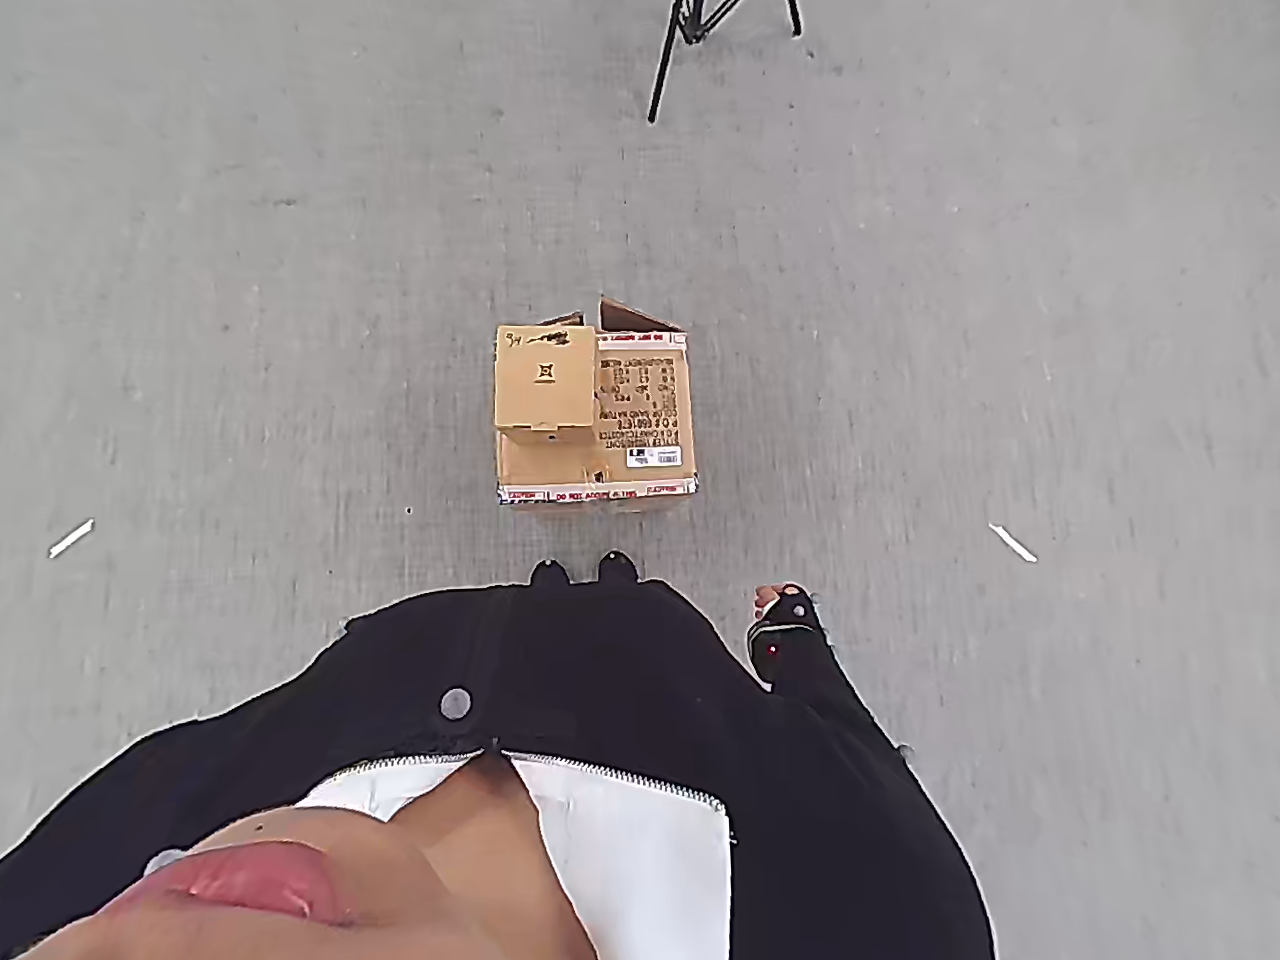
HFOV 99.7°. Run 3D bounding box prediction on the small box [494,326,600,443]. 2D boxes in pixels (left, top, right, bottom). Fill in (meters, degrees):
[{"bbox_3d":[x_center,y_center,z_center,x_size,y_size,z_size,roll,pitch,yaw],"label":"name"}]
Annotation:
[{"bbox_3d":[-0.158,-0.162,0.971,0.168,0.176,0.179,0,85,-1],"label":"small box"}]
